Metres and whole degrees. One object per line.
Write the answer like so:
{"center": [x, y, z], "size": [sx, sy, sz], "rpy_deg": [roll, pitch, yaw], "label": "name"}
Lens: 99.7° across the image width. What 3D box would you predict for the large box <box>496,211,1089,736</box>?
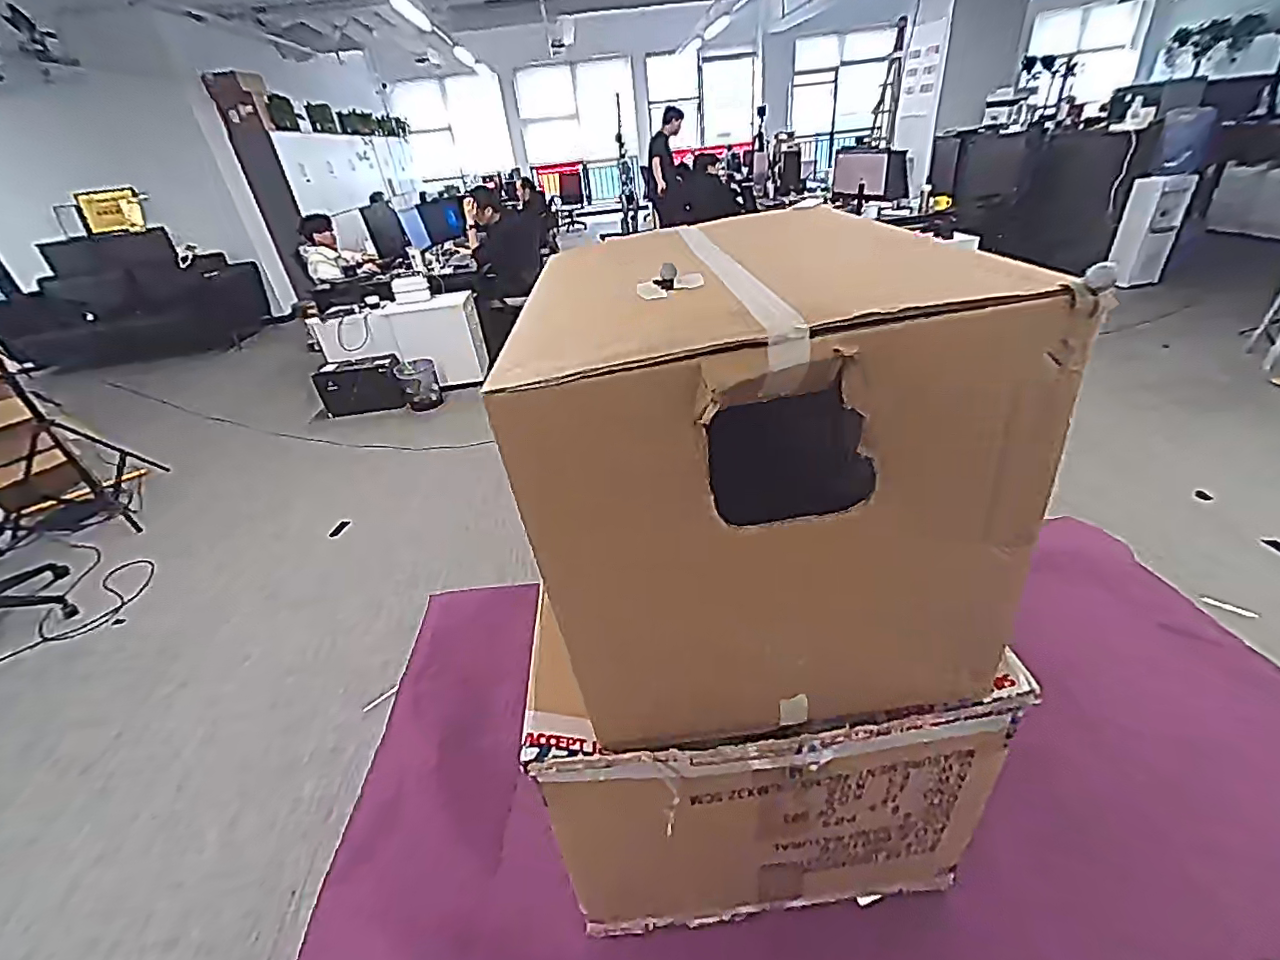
{"center": [0.082, -0.044, 0.517], "size": [0.320, 0.320, 0.408], "rpy_deg": [-11, 32, 2], "label": "large box"}
